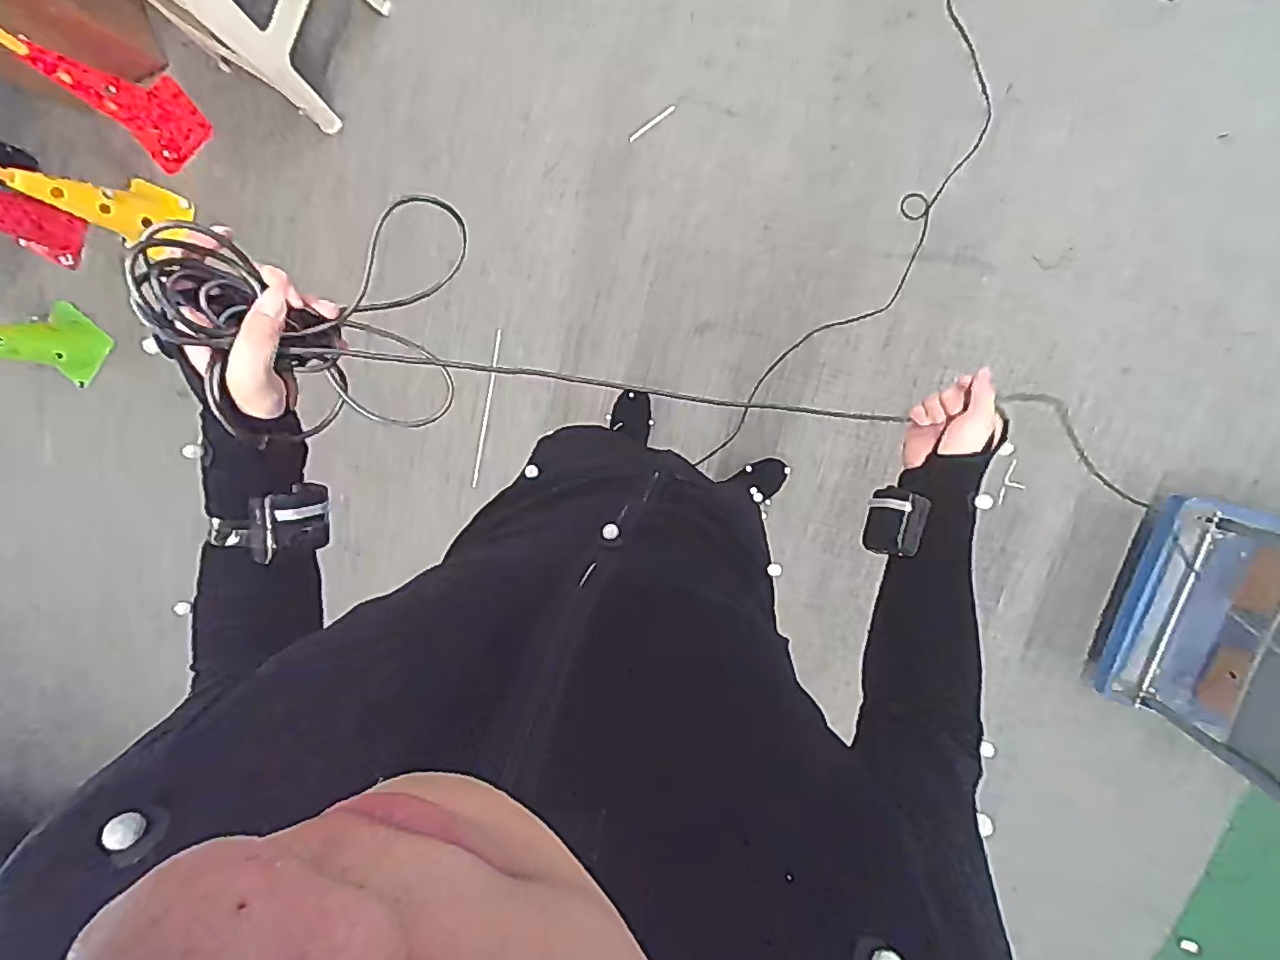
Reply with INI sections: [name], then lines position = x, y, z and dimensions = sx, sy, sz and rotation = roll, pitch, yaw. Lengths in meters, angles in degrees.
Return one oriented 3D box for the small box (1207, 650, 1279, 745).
[small box]
position = 1.567, 0.537, 1.311
dimensions = 0.179, 0.176, 0.168
rotation = 14, 100, 3
